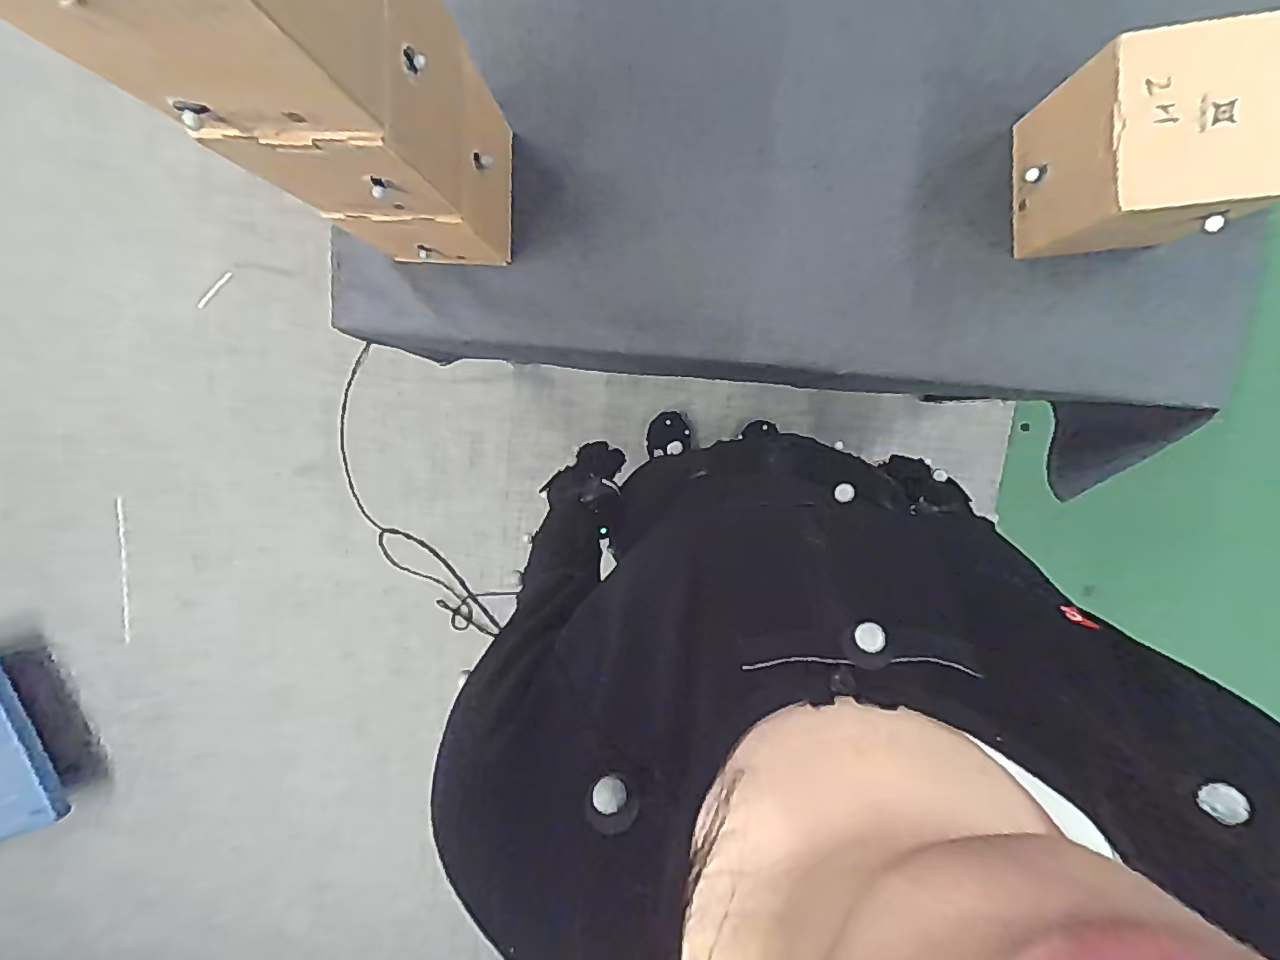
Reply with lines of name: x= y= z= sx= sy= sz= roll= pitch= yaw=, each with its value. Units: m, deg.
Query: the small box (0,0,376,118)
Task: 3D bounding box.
small box: x=-0.280 y=-0.352 z=0.327 sx=0.168 sy=0.176 sz=0.179 roll=3 pitch=97 yaw=2

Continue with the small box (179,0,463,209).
small box: x=-0.271 y=-0.366 z=0.491 sx=0.168 sy=0.176 sz=0.179 roll=4 pitch=97 yaw=2

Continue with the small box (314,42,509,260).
small box: x=-0.263 y=-0.383 z=0.652 sx=0.168 sy=0.176 sz=0.179 roll=3 pitch=98 yaw=3

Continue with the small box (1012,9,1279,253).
small box: x=0.551 y=-0.363 z=0.593 sx=0.179 sy=0.176 sz=0.168 roll=-4 pitch=97 yaw=5
